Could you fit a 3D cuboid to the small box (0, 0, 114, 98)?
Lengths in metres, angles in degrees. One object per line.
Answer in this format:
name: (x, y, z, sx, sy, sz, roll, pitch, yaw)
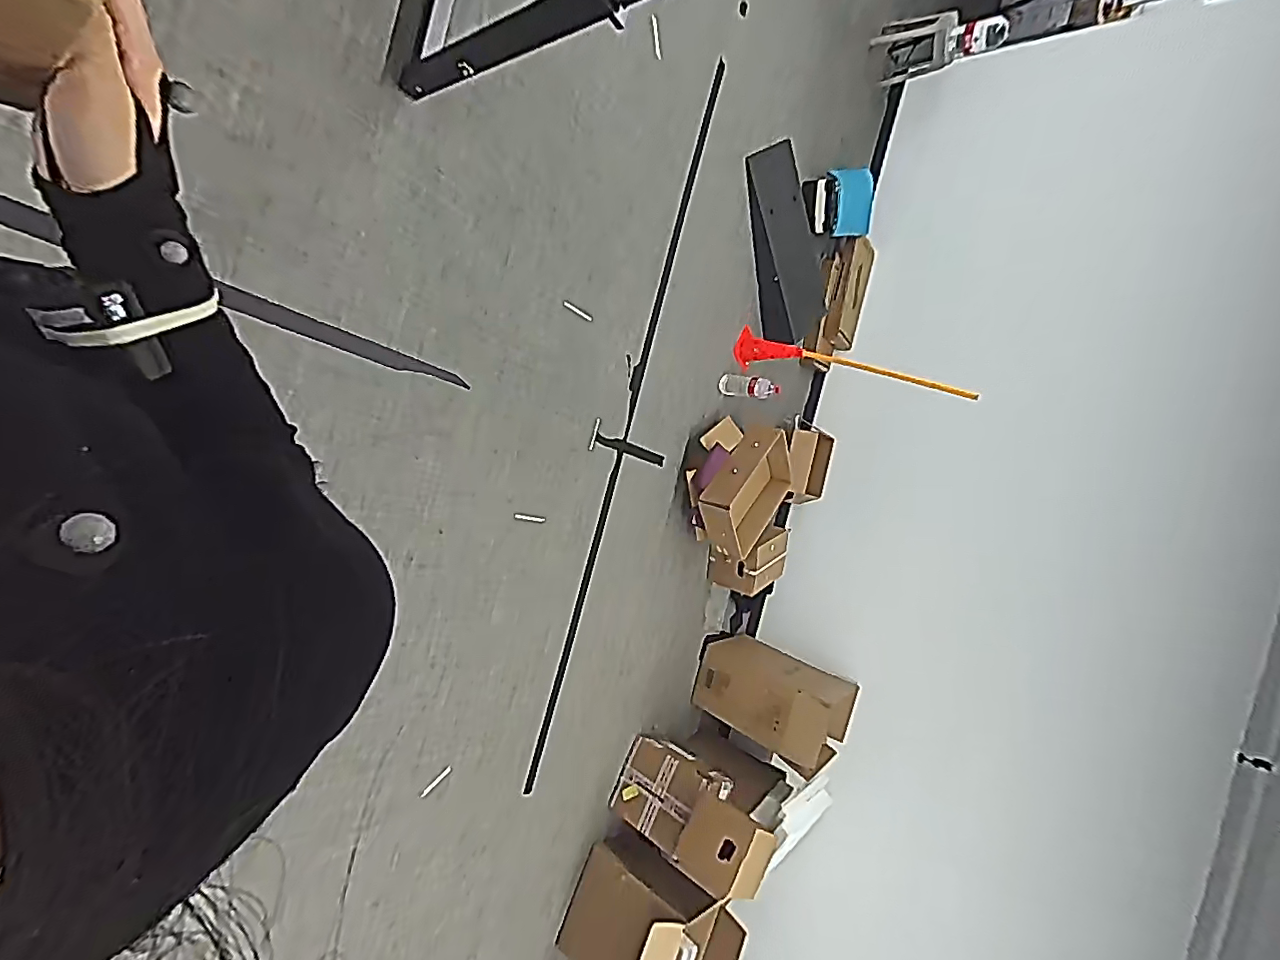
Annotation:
small box: (-0.298, -0.261, 0.168, 0.168, 0.176, 0.179, -10, 107, -53)
